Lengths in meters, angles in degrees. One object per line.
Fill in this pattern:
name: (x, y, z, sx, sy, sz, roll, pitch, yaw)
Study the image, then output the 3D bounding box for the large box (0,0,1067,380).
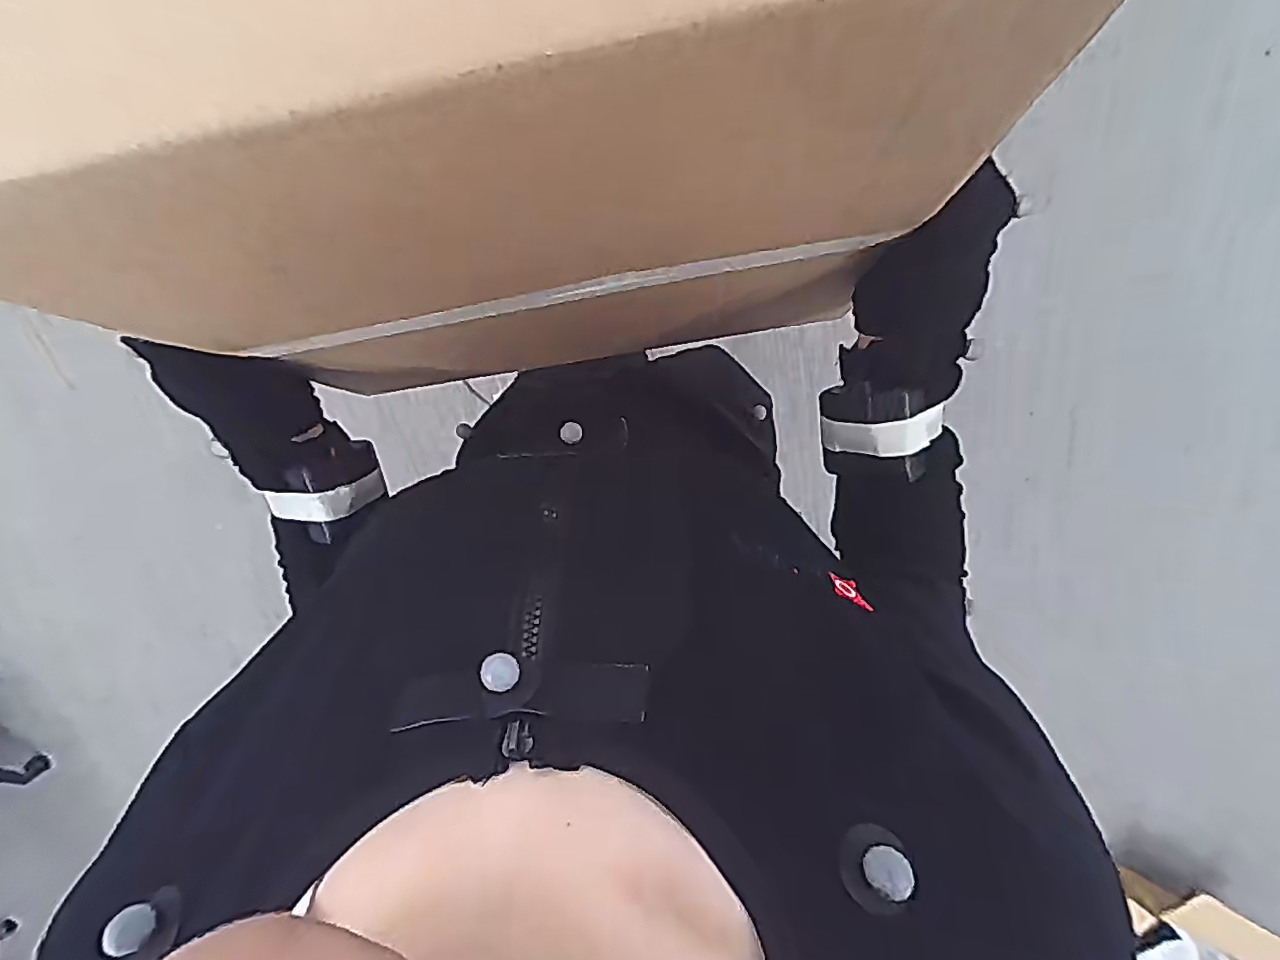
large box: (-0.074, -0.267, 0.306, 0.408, 0.320, 0.320, -8, 89, 5)
